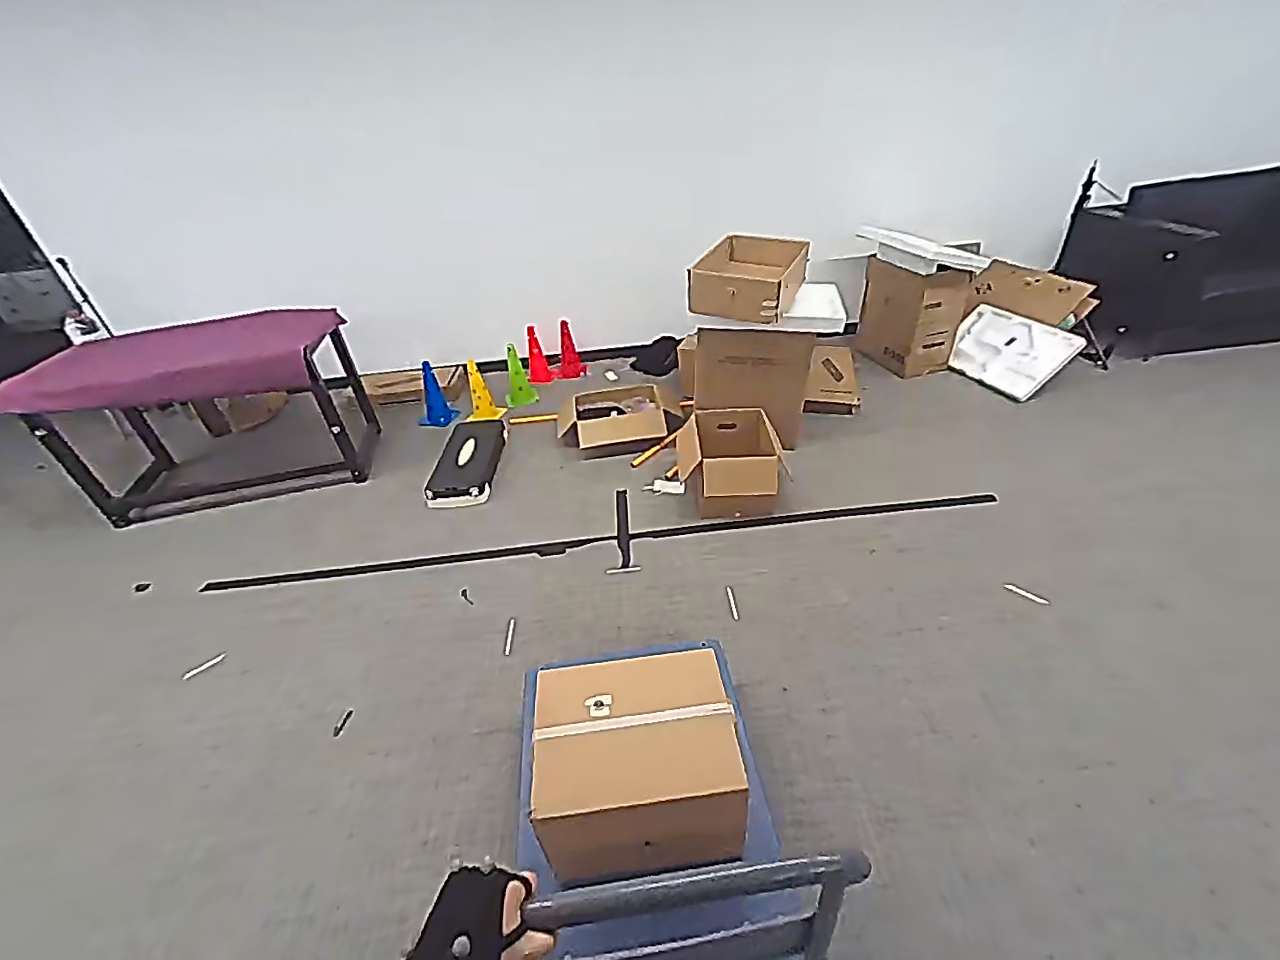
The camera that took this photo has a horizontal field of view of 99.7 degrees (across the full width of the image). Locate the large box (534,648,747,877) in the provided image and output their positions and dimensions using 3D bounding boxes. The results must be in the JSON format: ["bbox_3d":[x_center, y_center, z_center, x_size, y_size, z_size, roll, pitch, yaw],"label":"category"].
[{"bbox_3d":[0.000,0.622,1.201,0.408,0.320,0.320,-8,35,-2],"label":"large box"}]
